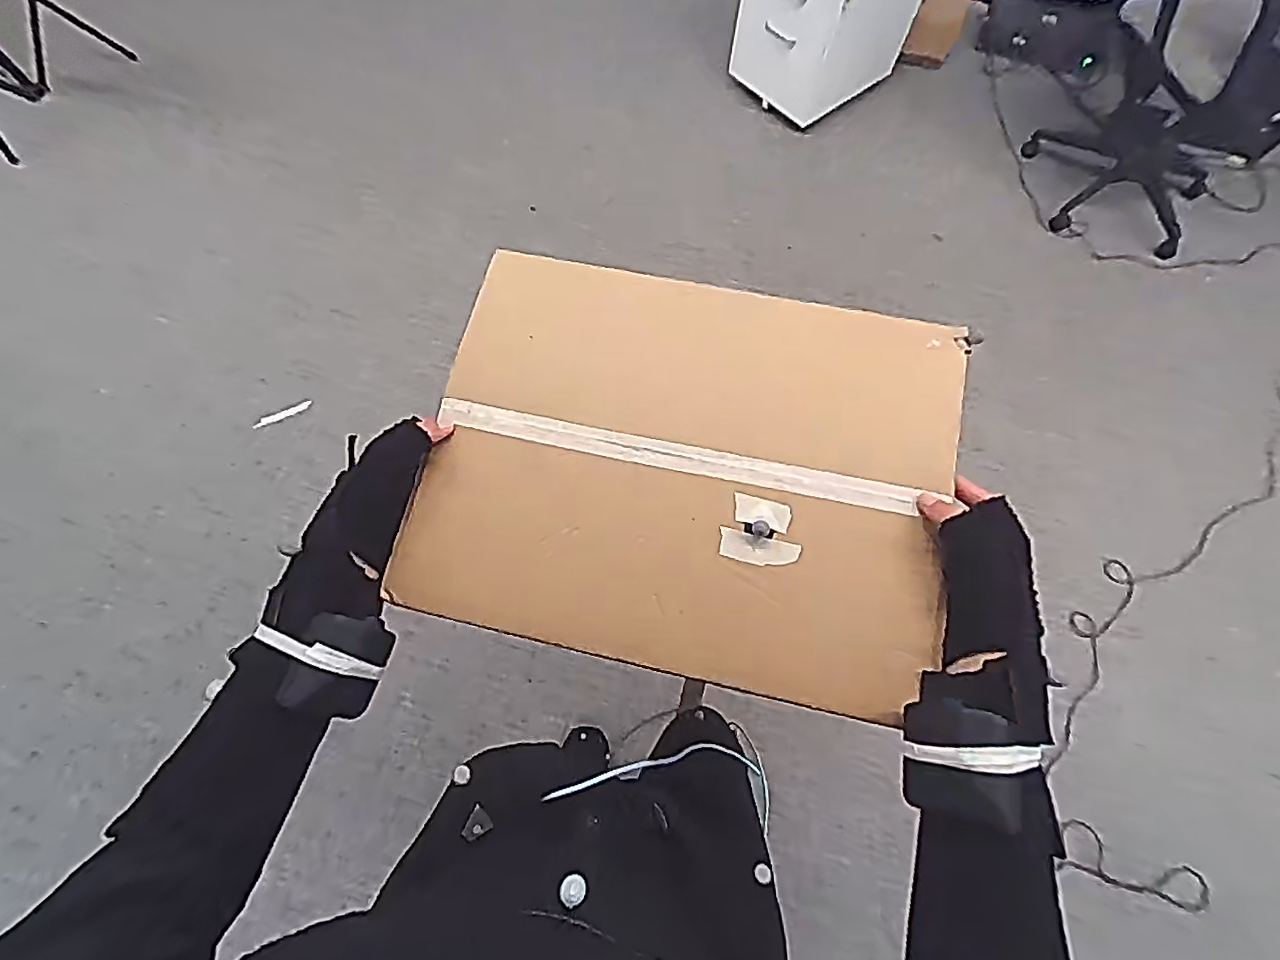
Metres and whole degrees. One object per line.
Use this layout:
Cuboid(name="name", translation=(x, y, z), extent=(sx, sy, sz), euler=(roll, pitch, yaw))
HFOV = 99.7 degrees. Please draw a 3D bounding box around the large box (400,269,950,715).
Cuboid(name="large box", translation=(0.041, 0.026, 0.579), extent=(0.408, 0.320, 0.320), euler=(12, 77, 5))
